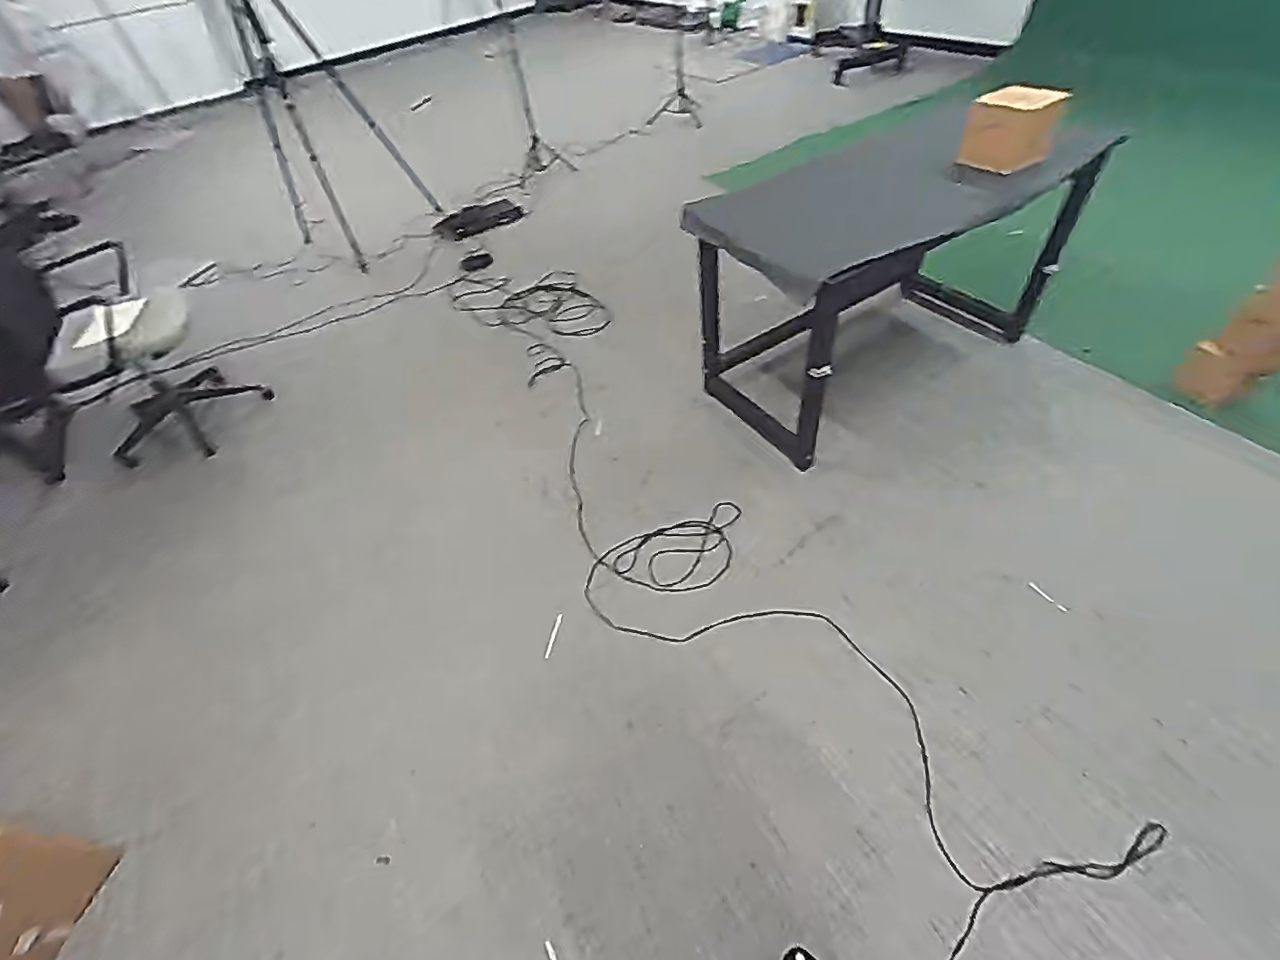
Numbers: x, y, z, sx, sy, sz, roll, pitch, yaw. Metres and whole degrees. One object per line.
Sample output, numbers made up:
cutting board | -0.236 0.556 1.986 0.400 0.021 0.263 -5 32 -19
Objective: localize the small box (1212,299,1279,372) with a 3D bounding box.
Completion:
small box | 1.983 -0.456 1.706 0.179 0.176 0.168 0 51 8

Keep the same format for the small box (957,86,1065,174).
small box | 1.077 -1.021 1.584 0.168 0.176 0.179 -29 50 -15

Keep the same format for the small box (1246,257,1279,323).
small box | 1.958 -0.567 1.587 0.179 0.176 0.168 24 59 27

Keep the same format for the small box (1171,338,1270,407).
small box | 1.991 -0.375 1.849 0.179 0.176 0.168 -16 50 -5
